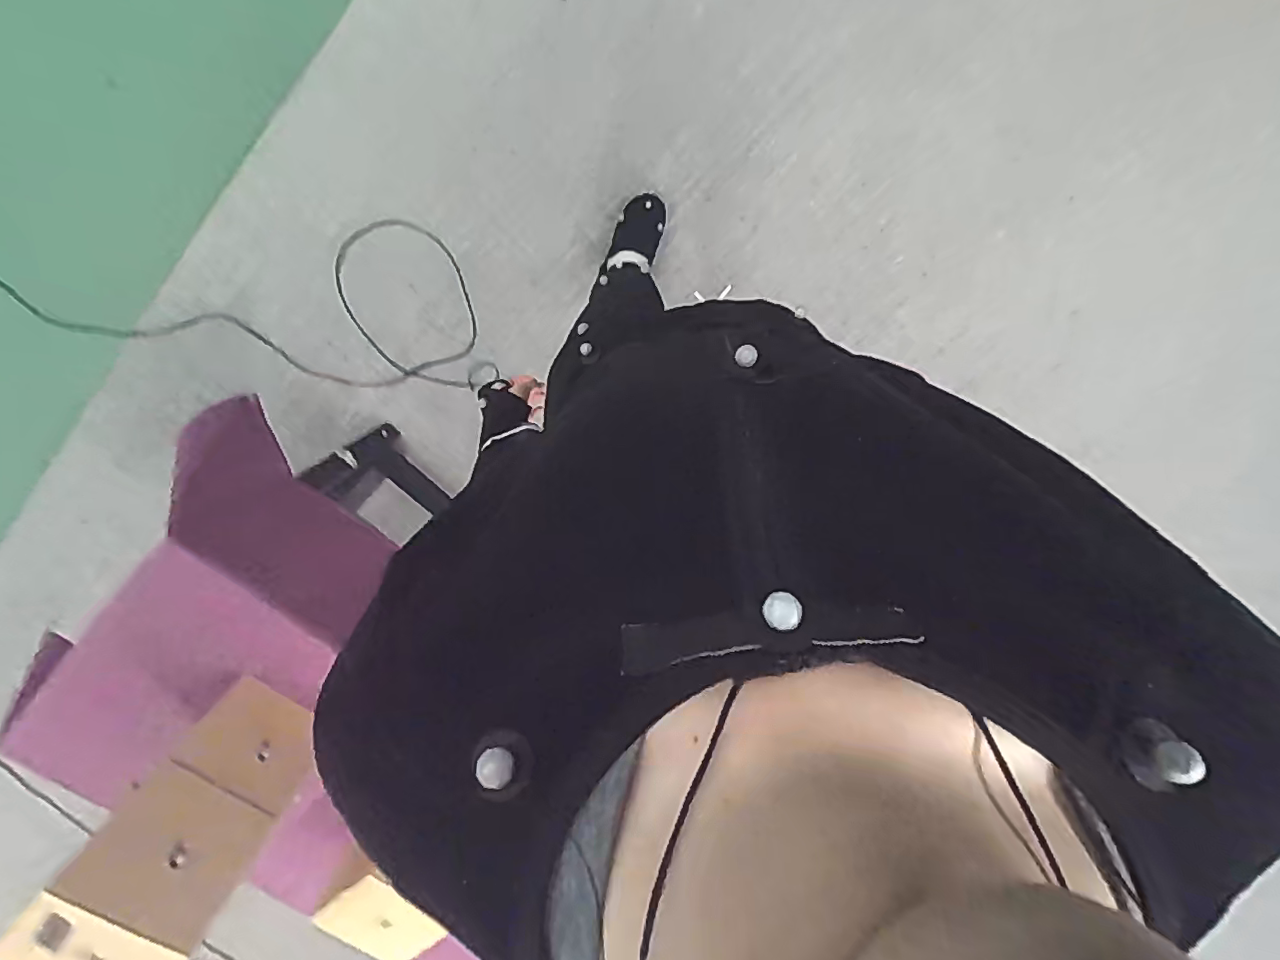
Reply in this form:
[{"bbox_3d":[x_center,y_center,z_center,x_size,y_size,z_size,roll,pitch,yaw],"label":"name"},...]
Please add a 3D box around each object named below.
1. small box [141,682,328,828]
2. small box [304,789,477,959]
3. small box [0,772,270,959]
[{"bbox_3d":[-0.631,0.451,0.835,0.179,0.176,0.168,41,105,-14],"label":"small box"},{"bbox_3d":[-0.409,0.675,0.922,0.168,0.176,0.179,-41,104,15],"label":"small box"},{"bbox_3d":[-0.629,0.507,0.680,0.179,0.176,0.168,43,106,-15],"label":"small box"}]
